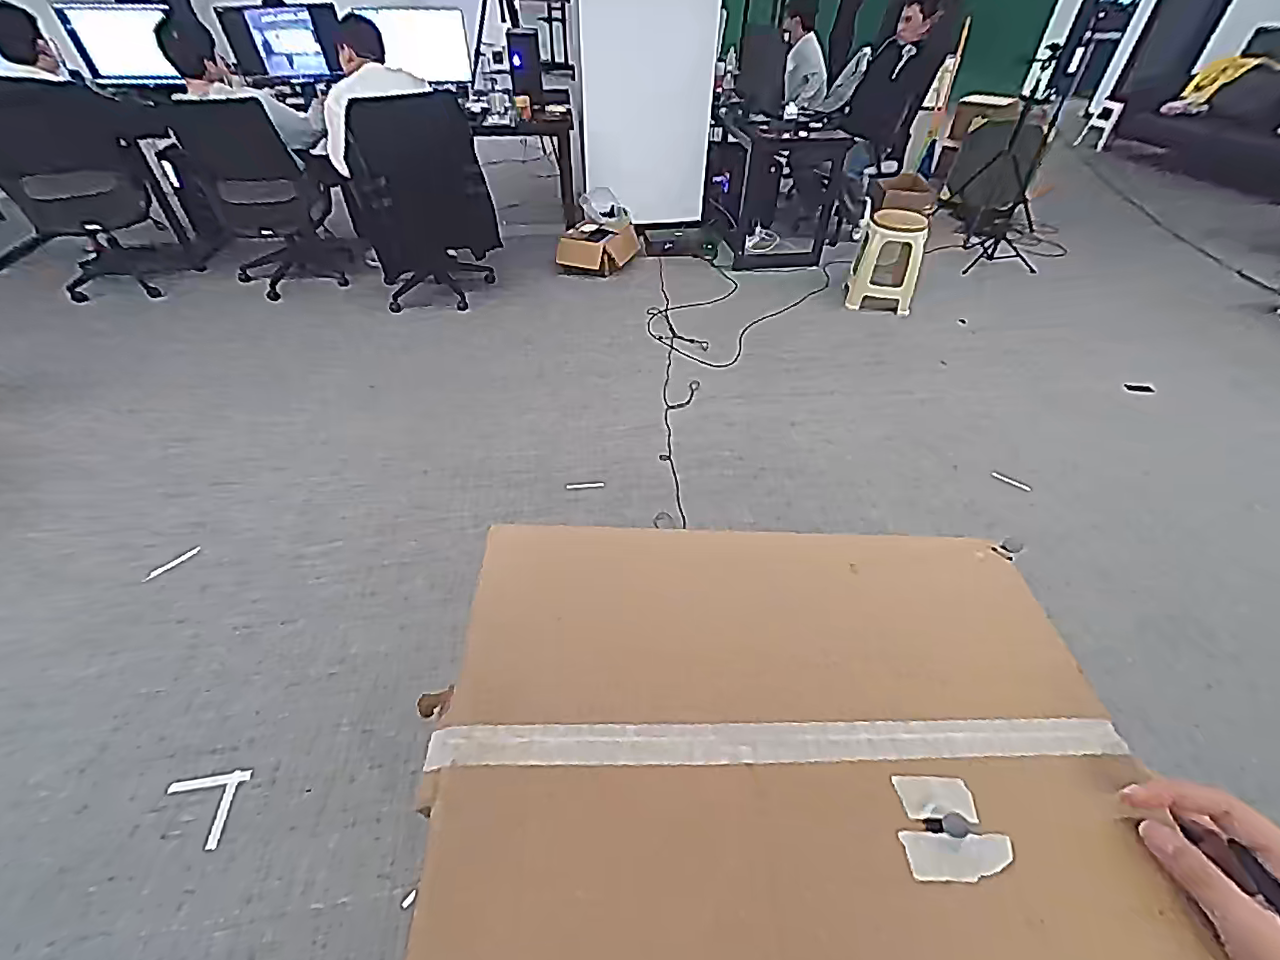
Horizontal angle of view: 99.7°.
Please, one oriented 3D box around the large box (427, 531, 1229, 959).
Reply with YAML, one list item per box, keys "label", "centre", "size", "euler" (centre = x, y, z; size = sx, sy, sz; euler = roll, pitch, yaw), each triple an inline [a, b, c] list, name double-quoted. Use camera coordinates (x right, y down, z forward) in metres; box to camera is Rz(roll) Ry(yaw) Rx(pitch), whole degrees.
- label: "large box"
  centre: [0.078, 0.259, 0.433]
  size: [0.408, 0.320, 0.320]
  euler: [3, 47, -6]
